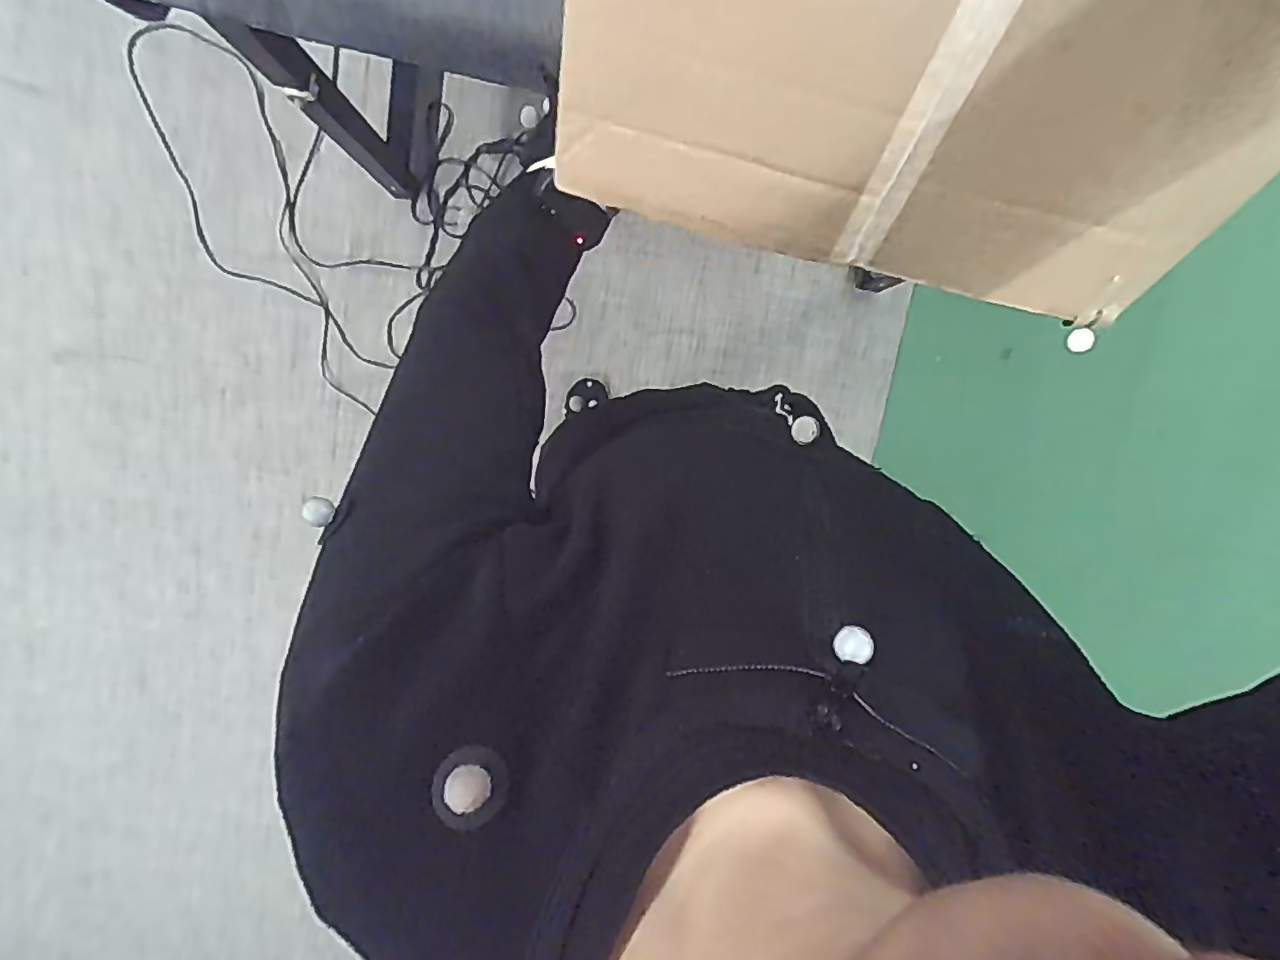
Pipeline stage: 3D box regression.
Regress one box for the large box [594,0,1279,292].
[{"bbox_3d":[0.170,-0.368,0.232,0.320,0.408,0.320,11,54,-4],"label":"large box"}]
